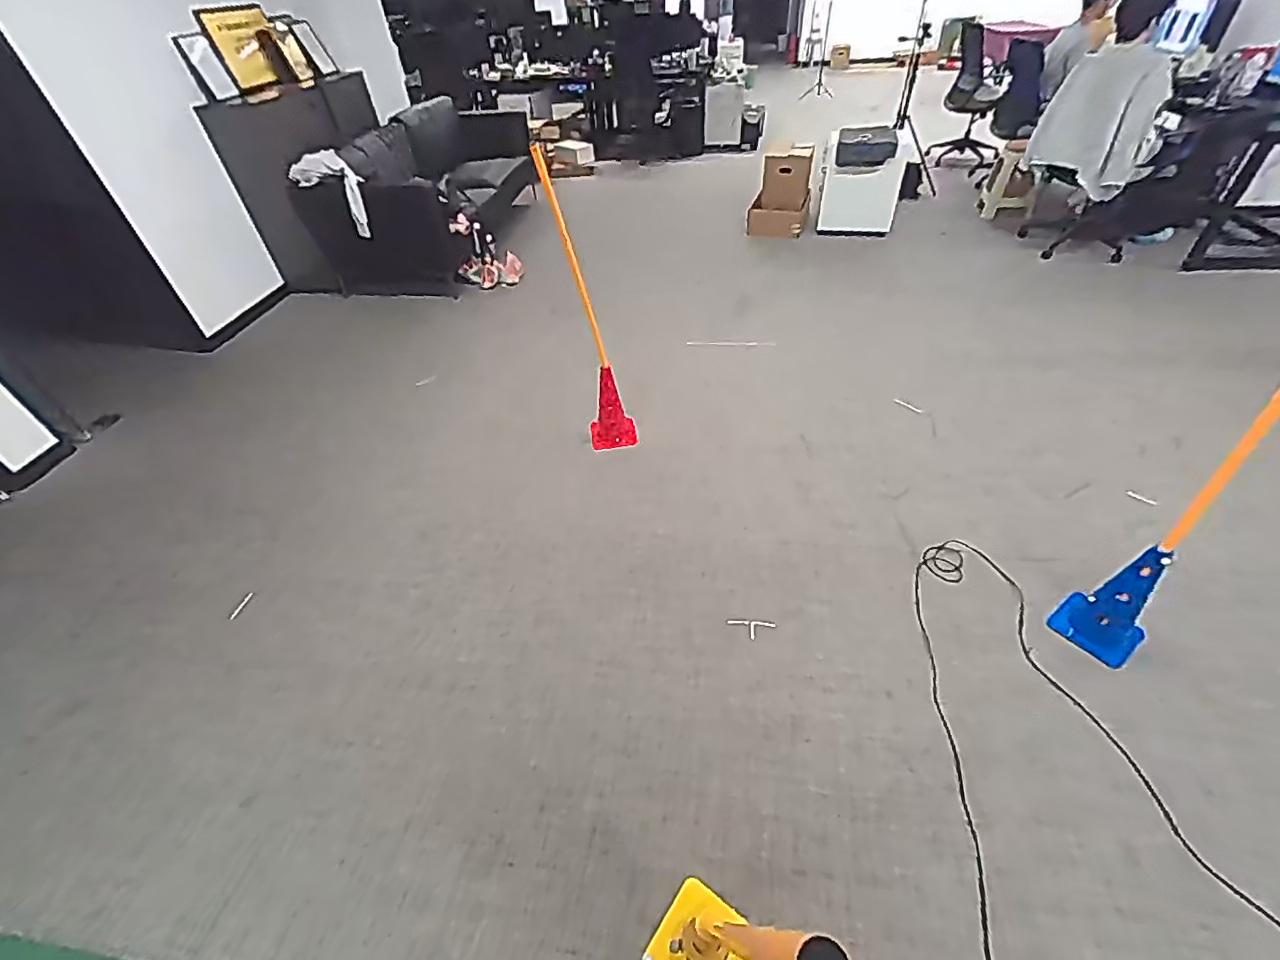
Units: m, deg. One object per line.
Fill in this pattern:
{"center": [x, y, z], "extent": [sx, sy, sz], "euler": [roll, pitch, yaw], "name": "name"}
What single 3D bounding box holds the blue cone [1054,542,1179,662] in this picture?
{"center": [1.359, 0.309, 1.509], "extent": [0.193, 0.380, 0.192], "euler": [-28, 46, -26], "name": "blue cone"}
